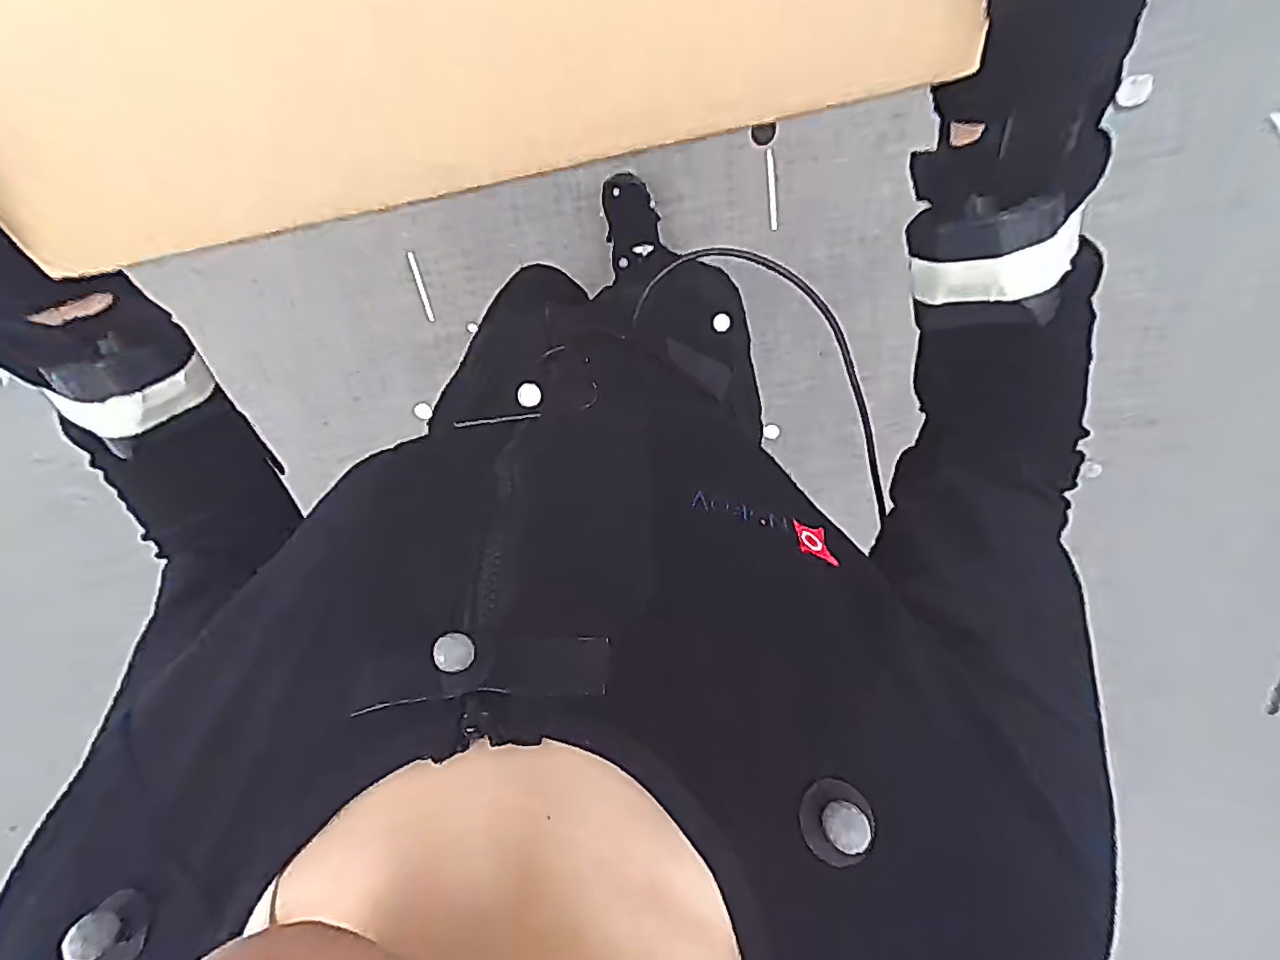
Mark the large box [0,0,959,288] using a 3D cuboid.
[{"bbox_3d":[-0.102,-0.336,0.260,0.408,0.320,0.320,-10,128,6],"label":"large box"}]
